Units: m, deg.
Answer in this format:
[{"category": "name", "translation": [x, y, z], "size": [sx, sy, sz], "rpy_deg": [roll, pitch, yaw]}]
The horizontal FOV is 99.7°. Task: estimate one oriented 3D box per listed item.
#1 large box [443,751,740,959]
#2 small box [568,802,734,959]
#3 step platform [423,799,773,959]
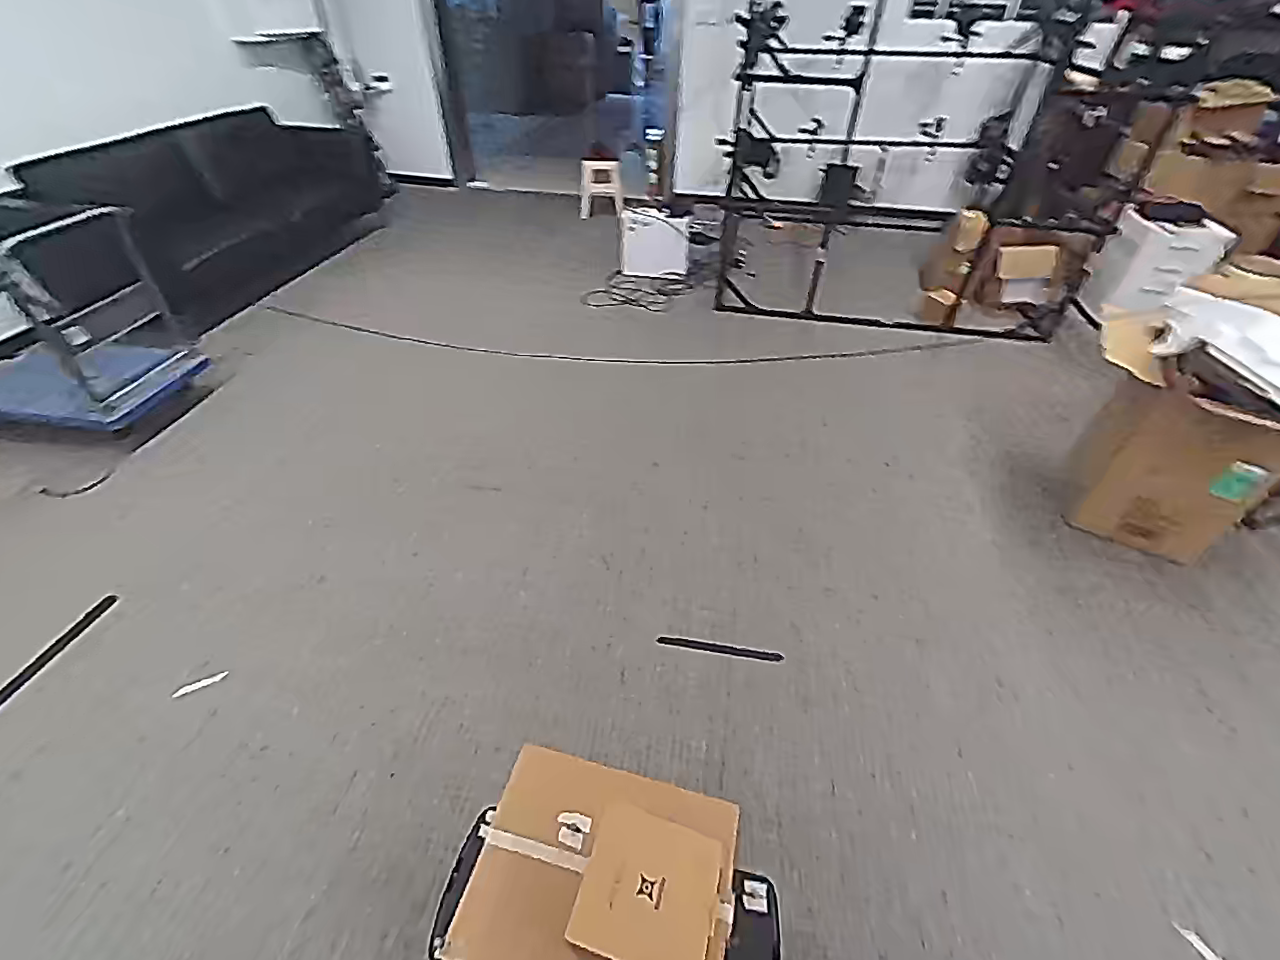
[{"category": "large box", "translation": [-0.054, 0.736, 0.946], "size": [0.408, 0.320, 0.320], "rpy_deg": [10, 42, 11]}, {"category": "small box", "translation": [0.019, 0.585, 0.748], "size": [0.179, 0.176, 0.168], "rpy_deg": [13, 44, 14]}, {"category": "step platform", "translation": [-0.080, 0.918, 1.100], "size": [0.684, 0.204, 0.286], "rpy_deg": [12, 43, 13]}]
